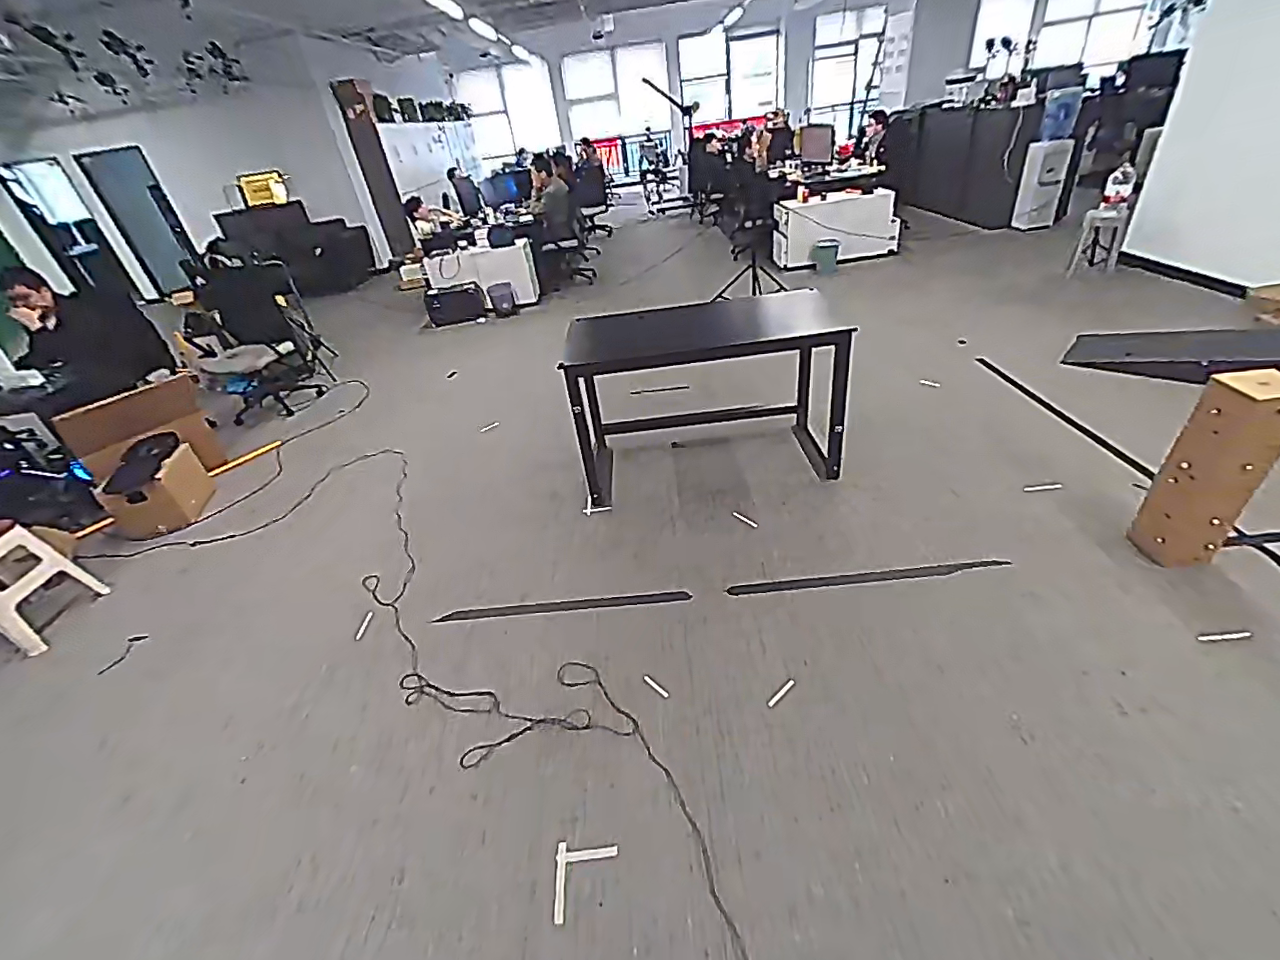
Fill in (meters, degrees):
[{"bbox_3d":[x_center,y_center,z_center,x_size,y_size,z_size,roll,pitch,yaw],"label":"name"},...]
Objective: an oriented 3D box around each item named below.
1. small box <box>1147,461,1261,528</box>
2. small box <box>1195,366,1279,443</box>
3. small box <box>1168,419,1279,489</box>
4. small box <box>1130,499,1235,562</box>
[{"bbox_3d":[1.872,0.042,1.809,0.179,0.176,0.168,-8,34,1],"label":"small box"},{"bbox_3d":[1.829,-0.222,1.616,0.179,0.176,0.168,-5,35,5],"label":"small box"},{"bbox_3d":[1.850,-0.090,1.712,0.179,0.176,0.168,-9,34,2],"label":"small box"},{"bbox_3d":[1.896,0.175,1.902,0.168,0.176,0.179,-7,33,3],"label":"small box"}]
